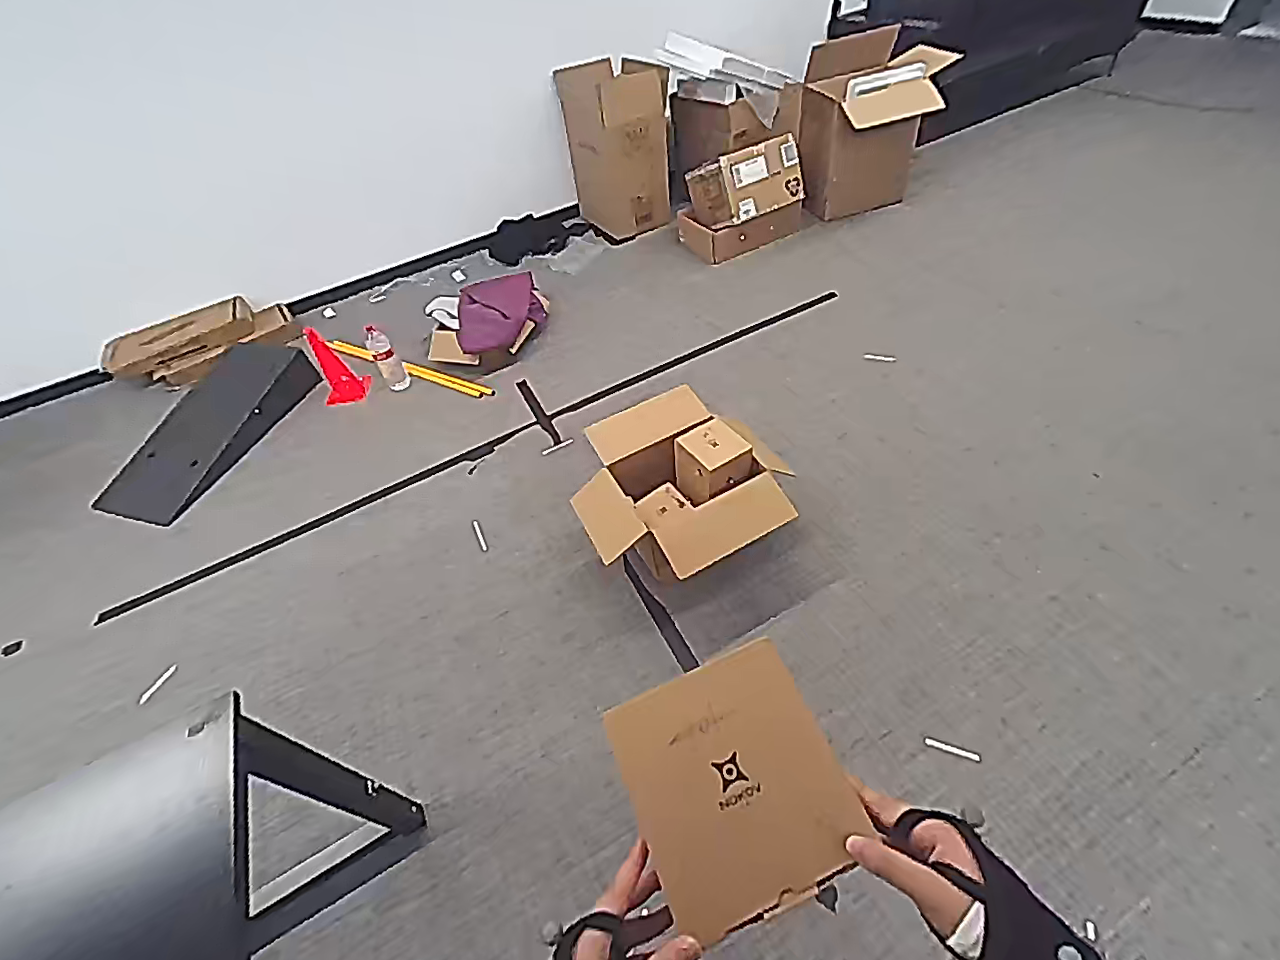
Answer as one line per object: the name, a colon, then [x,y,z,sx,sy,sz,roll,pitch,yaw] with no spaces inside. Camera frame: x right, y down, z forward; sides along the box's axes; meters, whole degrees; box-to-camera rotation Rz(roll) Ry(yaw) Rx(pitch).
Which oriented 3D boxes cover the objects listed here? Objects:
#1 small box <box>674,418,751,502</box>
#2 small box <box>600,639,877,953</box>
small box: [0.225,-0.055,1.684,0.168,0.176,0.179,-28,50,-20]
small box: [0.080,0.280,0.501,0.168,0.176,0.179,-23,58,-8]
